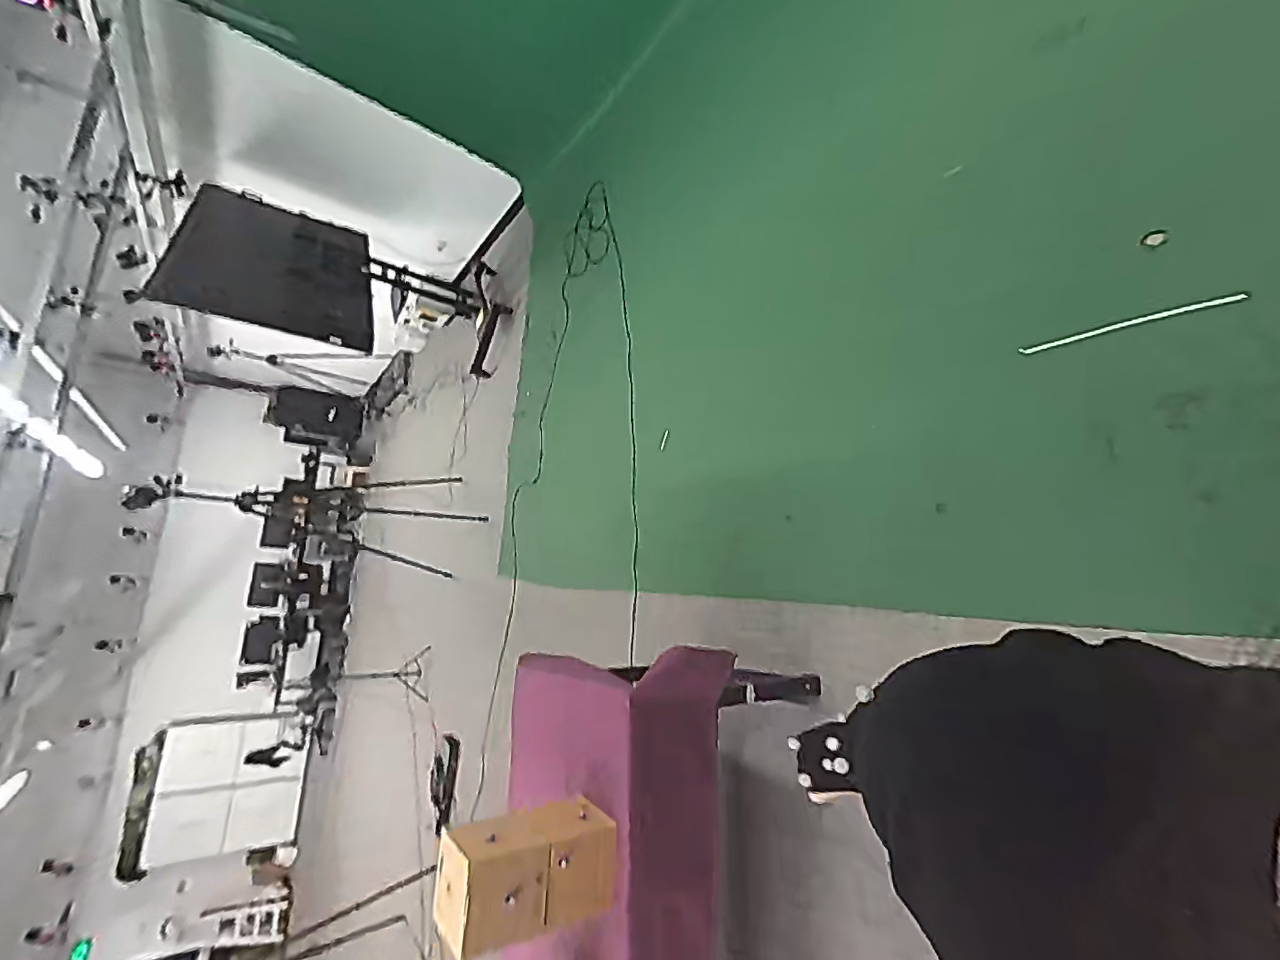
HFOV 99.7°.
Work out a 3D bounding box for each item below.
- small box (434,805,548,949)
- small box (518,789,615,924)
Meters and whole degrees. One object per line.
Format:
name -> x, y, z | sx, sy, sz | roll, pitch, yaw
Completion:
small box -> -0.301, 0.791, 1.103 | 0.179, 0.176, 0.168 | -11, 72, 52
small box -> -0.170, 0.819, 1.198 | 0.168, 0.176, 0.179 | -5, 77, 53
